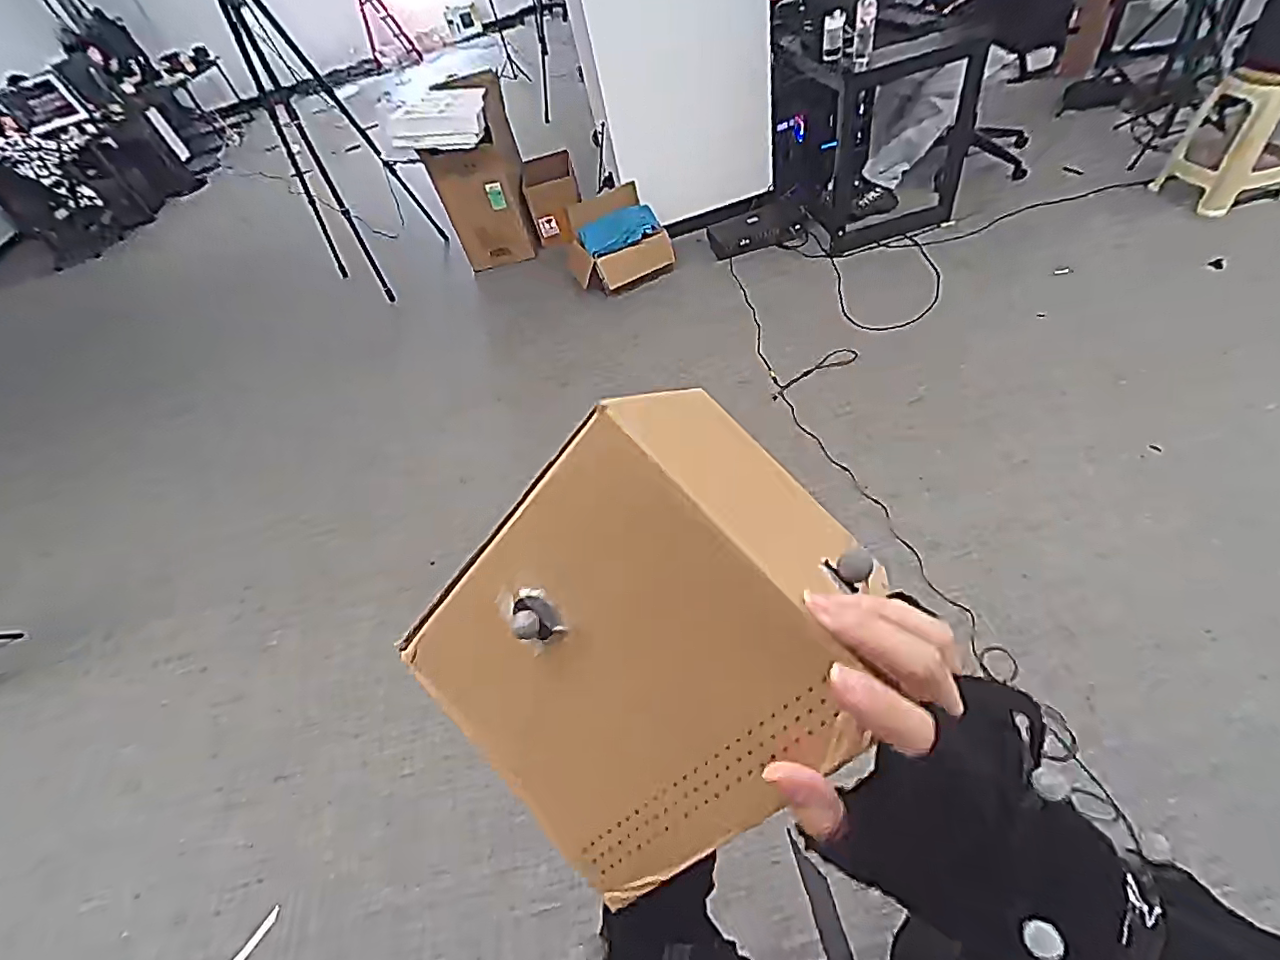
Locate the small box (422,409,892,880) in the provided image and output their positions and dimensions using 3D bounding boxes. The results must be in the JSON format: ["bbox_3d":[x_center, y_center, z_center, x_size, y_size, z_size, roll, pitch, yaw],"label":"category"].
[{"bbox_3d":[0.018,0.082,0.321,0.176,0.168,0.179,45,114,7],"label":"small box"}]
